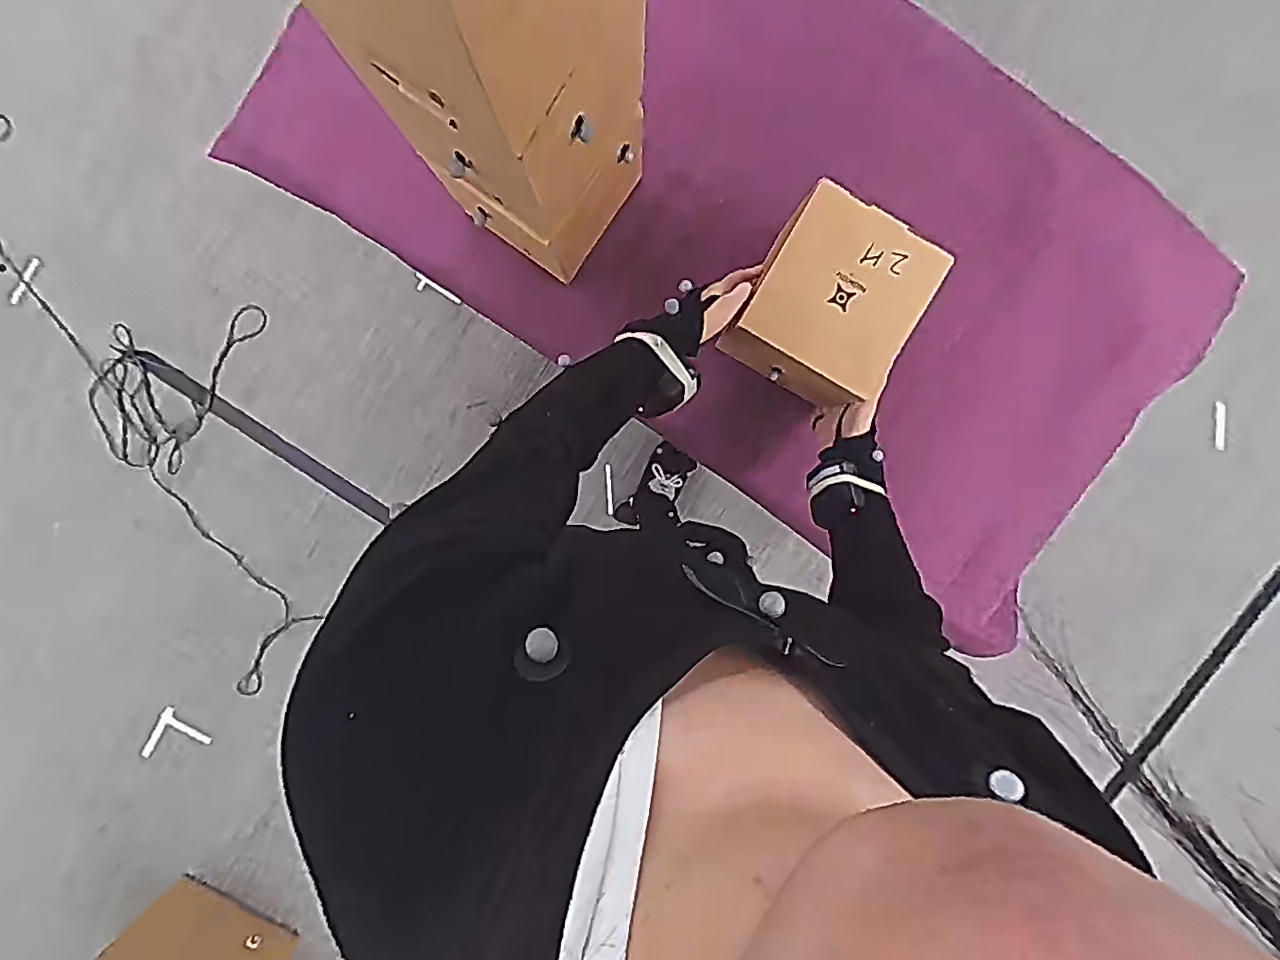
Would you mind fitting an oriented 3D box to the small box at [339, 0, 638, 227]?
[{"bbox_3d":[-0.109,-0.360,0.472,0.168,0.176,0.179,33,95,-4],"label":"small box"}]

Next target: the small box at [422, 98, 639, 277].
[{"bbox_3d":[-0.113,-0.371,0.636,0.168,0.176,0.179,35,94,-4],"label":"small box"}]

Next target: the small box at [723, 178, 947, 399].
[{"bbox_3d":[0.215,-0.210,0.655,0.168,0.176,0.179,30,95,-4],"label":"small box"}]
